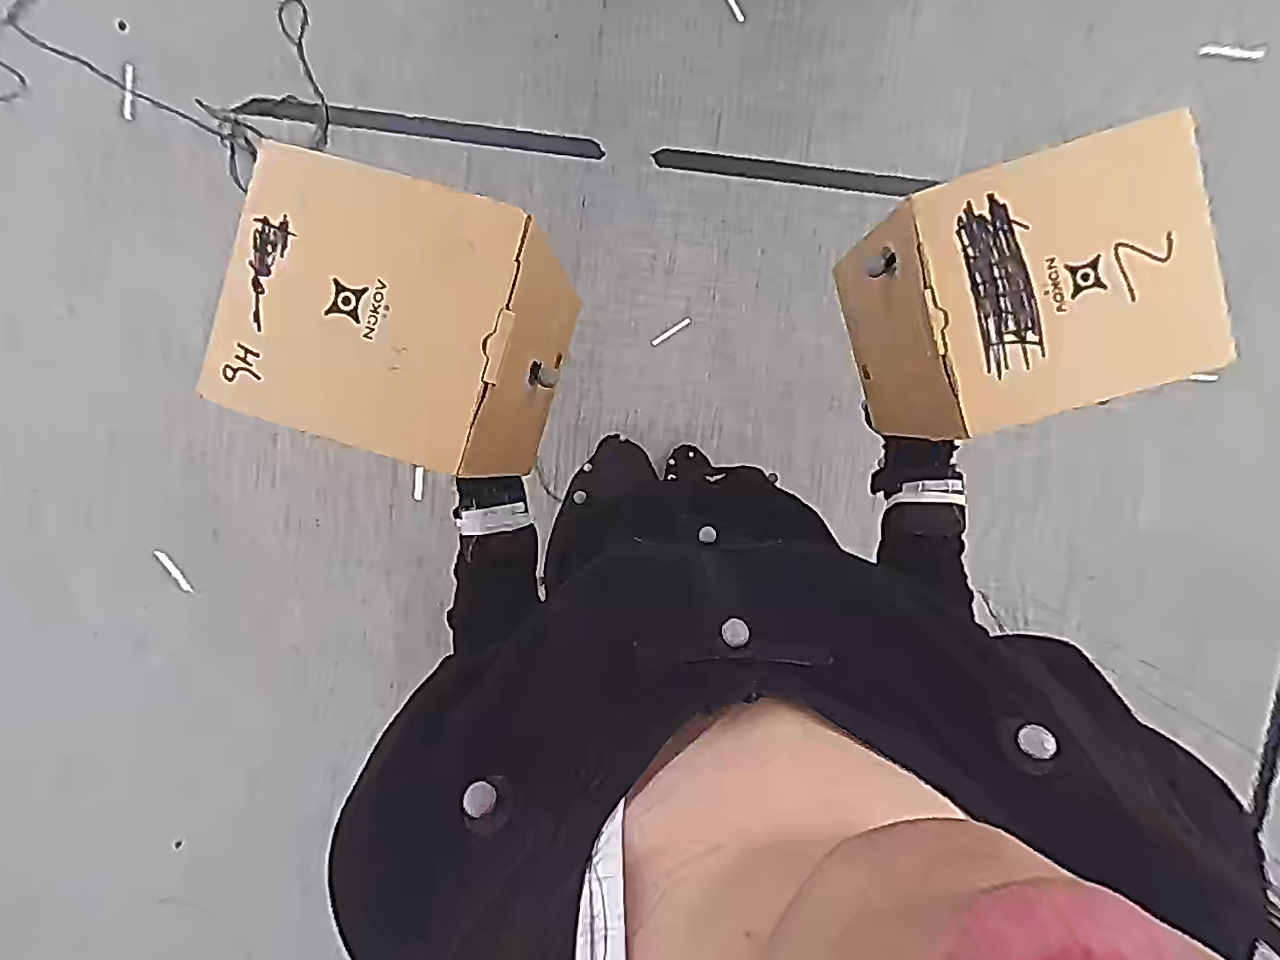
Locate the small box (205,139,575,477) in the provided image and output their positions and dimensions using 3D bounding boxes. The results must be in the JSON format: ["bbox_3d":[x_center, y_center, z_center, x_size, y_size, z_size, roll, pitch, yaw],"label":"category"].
[{"bbox_3d":[-0.159,-0.107,0.406,0.179,0.176,0.168,16,92,2],"label":"small box"}]
